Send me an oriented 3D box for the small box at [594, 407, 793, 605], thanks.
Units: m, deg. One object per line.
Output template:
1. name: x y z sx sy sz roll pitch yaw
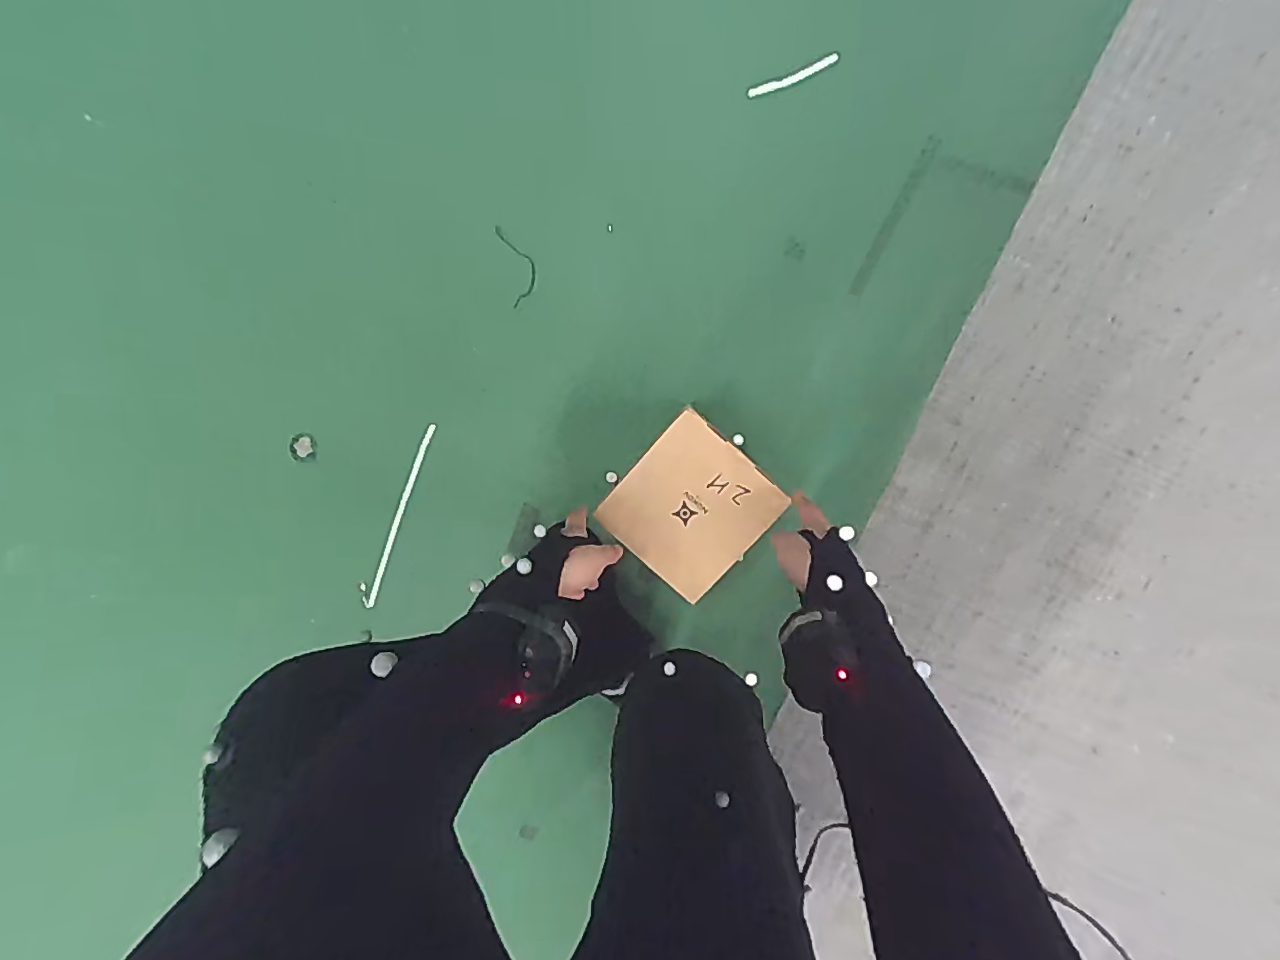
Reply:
1. small box: 0.067 0.023 0.704 0.168 0.176 0.179 42 98 -3
